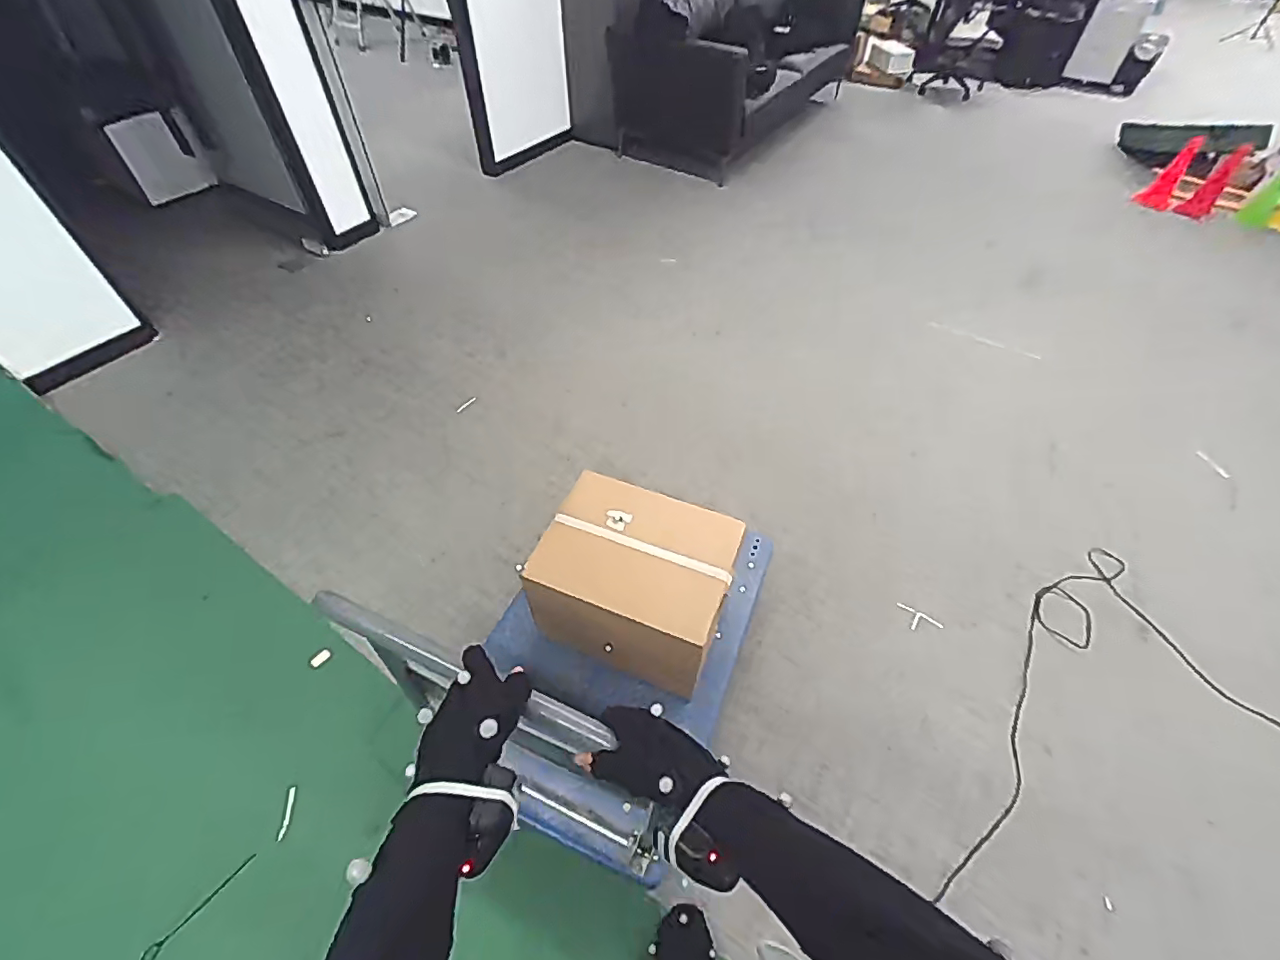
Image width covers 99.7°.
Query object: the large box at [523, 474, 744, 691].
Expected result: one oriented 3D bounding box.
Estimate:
[{"bbox_3d":[-0.002,0.241,1.278,0.408,0.320,0.320,18,52,14],"label":"large box"}]
